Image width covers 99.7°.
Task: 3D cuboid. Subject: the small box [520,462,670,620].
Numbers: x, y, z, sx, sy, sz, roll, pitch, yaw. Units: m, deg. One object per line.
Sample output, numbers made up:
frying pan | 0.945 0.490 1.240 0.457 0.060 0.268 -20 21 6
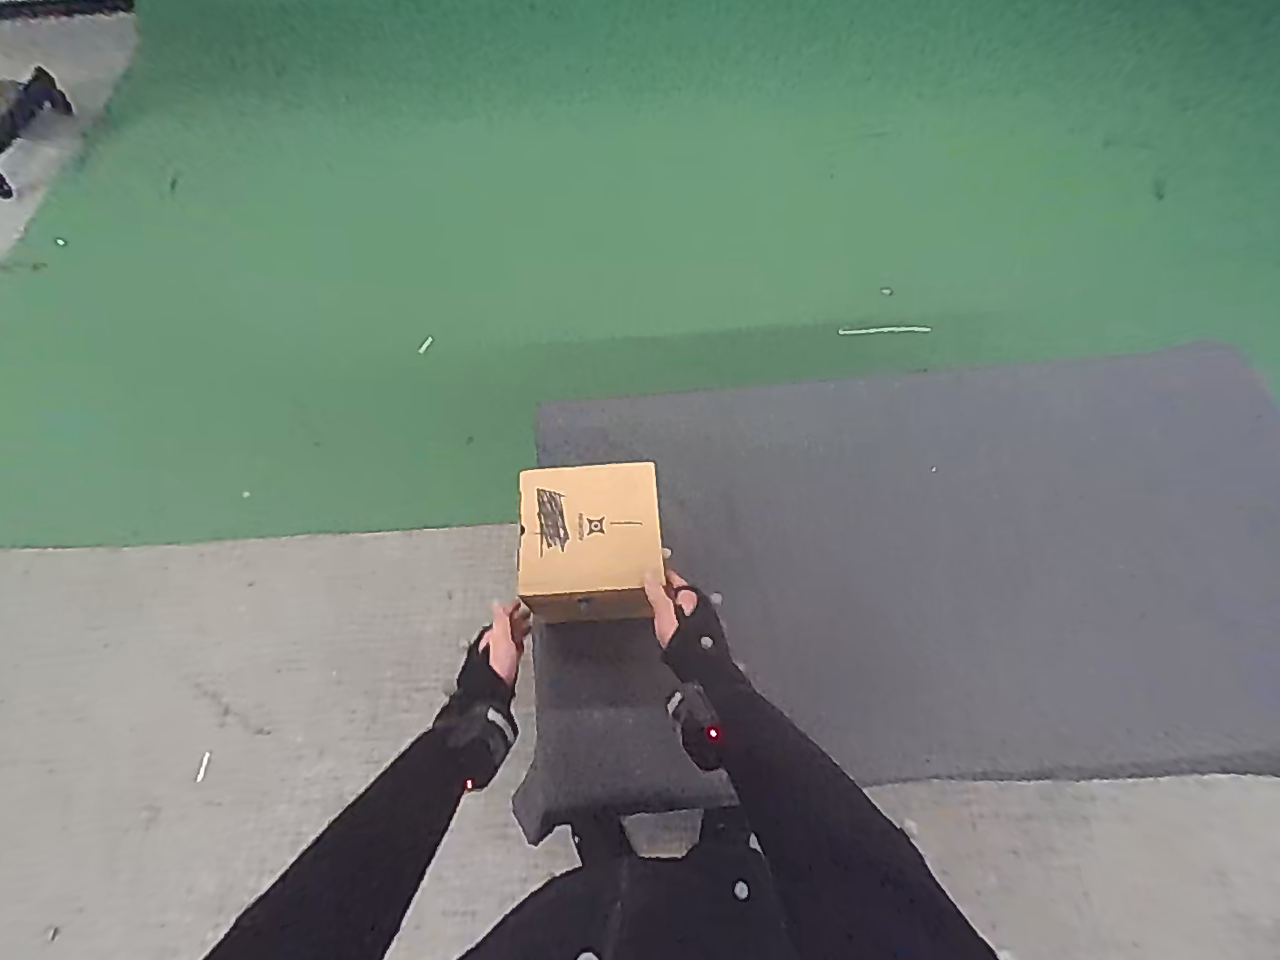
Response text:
small box | -0.055 0.088 0.725 0.179 0.176 0.168 -3 65 -2
